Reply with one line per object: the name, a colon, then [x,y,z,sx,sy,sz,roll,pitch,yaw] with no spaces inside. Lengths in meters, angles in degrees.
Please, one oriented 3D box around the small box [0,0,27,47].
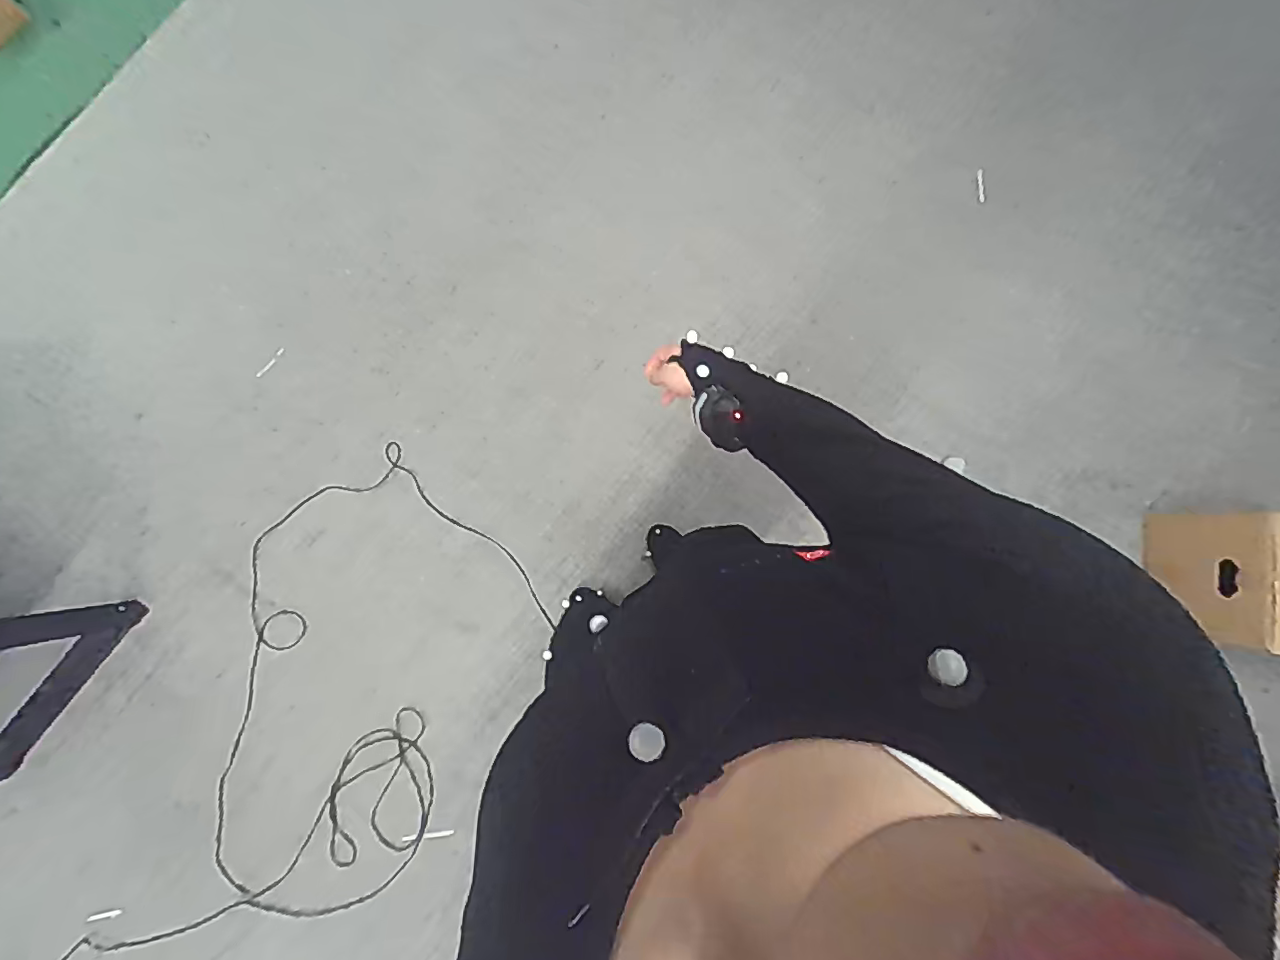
small box: [-2.014,-1.447,1.611,0.168,0.176,0.179,43,87,4]
